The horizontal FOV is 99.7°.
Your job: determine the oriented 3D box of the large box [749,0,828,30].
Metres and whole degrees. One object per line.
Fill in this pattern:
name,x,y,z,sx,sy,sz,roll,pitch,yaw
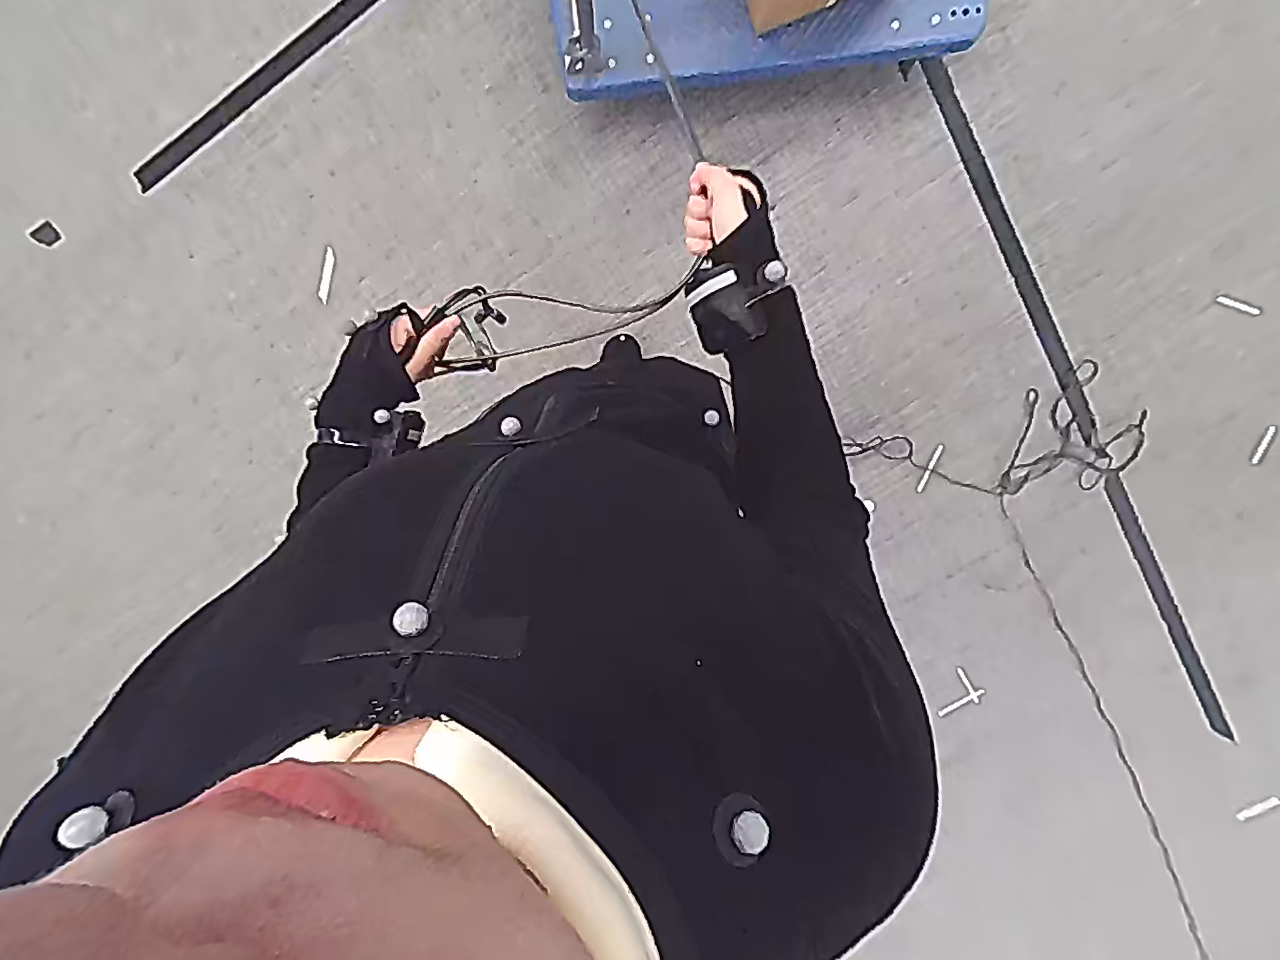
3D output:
large box,0.304,-1.098,0.889,0.320,0.320,0.408,-21,104,6
